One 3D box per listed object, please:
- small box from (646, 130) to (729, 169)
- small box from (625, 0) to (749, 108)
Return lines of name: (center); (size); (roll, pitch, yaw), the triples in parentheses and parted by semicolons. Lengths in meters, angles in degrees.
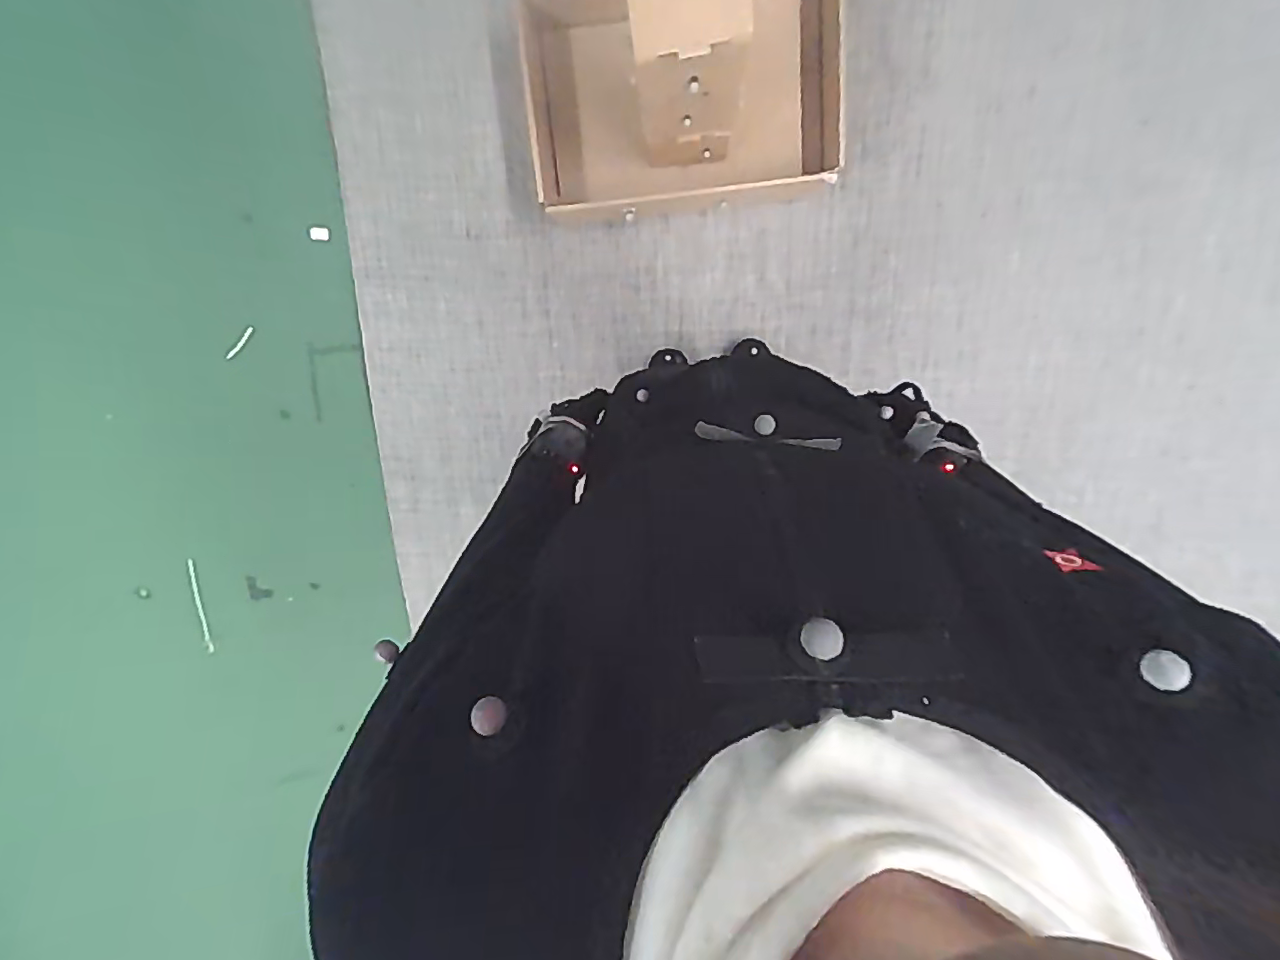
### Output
small box: (0.098, -0.761, 1.116); (0.168, 0.176, 0.179); (-2, 103, 5)
small box: (0.068, -0.682, 0.800); (0.168, 0.176, 0.179); (-5, 104, 7)
